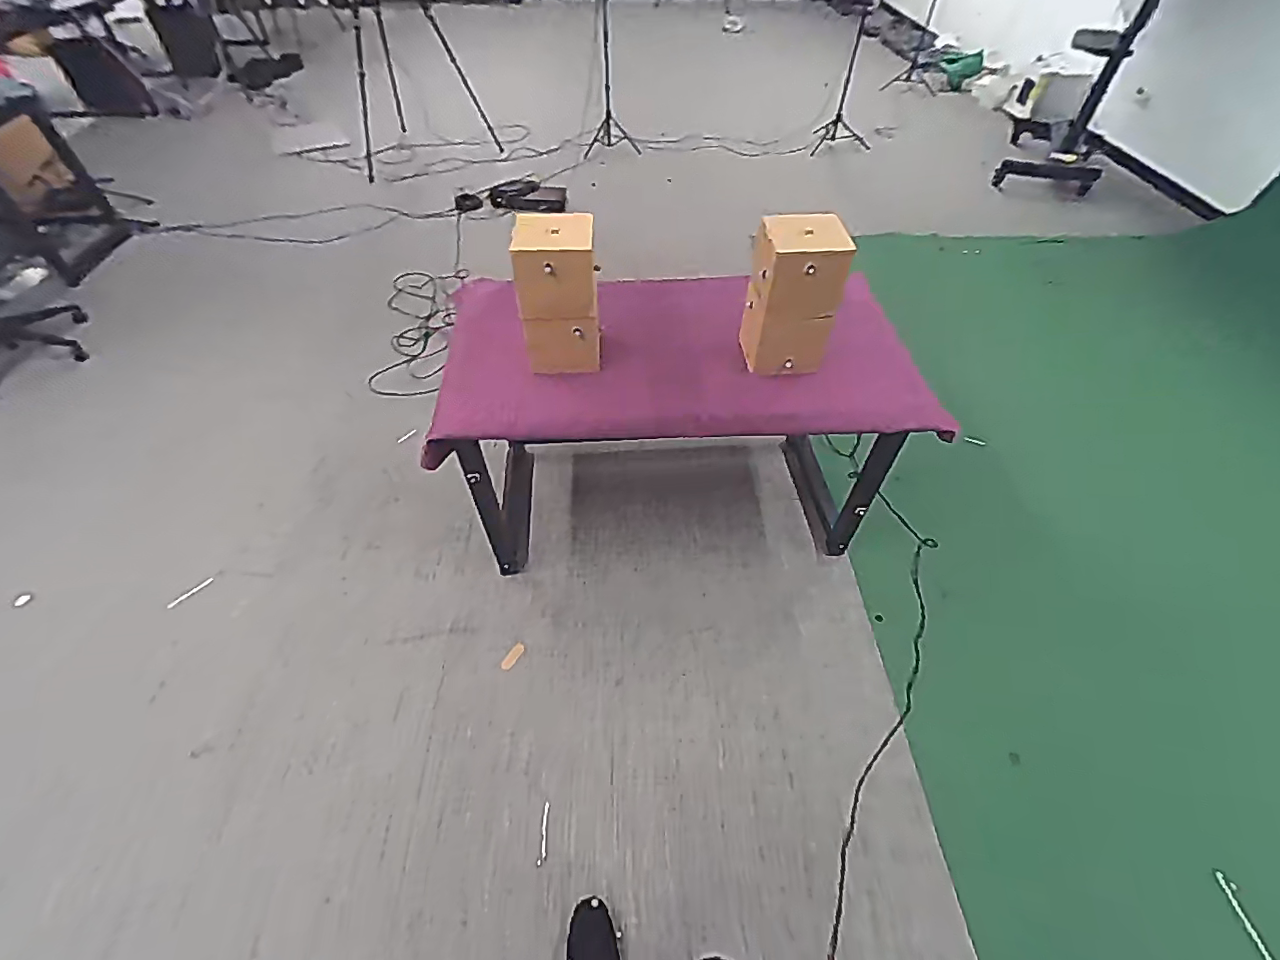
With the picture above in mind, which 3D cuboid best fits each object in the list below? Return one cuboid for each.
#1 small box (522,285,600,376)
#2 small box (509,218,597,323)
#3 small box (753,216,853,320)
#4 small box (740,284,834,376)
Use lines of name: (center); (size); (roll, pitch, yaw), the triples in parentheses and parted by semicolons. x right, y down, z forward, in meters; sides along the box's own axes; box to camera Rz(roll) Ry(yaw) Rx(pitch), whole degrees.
small box: (-0.192, -0.379, 1.373); (0.179, 0.176, 0.168); (-2, 50, -2)
small box: (-0.191, -0.480, 1.246); (0.179, 0.176, 0.168); (-3, 51, -1)
small box: (0.363, -0.485, 1.247); (0.179, 0.176, 0.168); (-2, 51, -1)
small box: (0.363, -0.380, 1.372); (0.179, 0.176, 0.168); (-3, 50, -3)
